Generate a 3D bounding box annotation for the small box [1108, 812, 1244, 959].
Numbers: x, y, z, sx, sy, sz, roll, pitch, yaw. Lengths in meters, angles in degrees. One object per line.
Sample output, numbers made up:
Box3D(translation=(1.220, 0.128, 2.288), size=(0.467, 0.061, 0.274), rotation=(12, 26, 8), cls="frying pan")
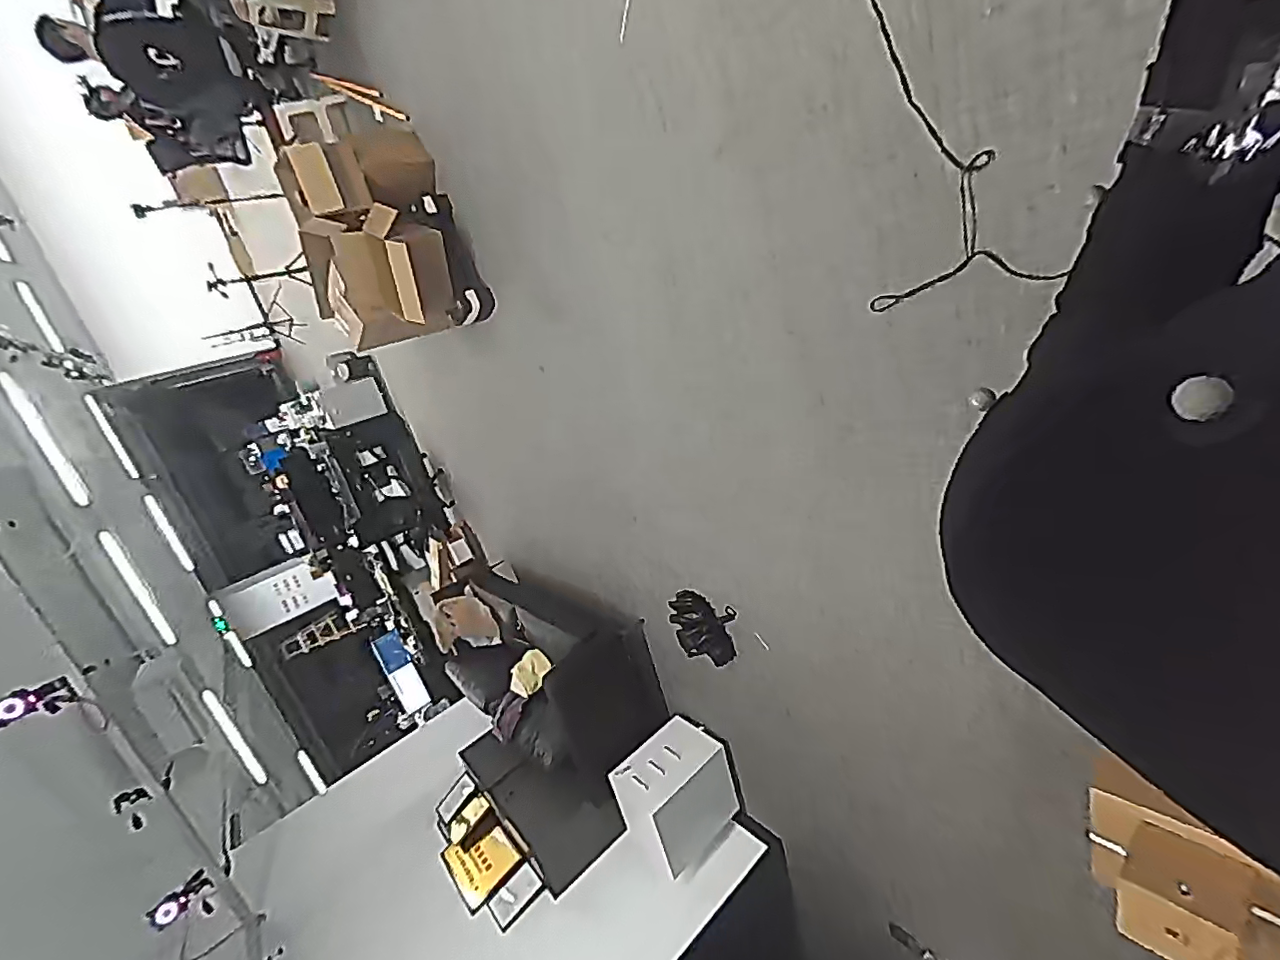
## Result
Box3D(translation=(1.095, 0.834, 1.107), size=(0.179, 0.176, 0.168), rotation=(9, 119, 53), cls="small box")
